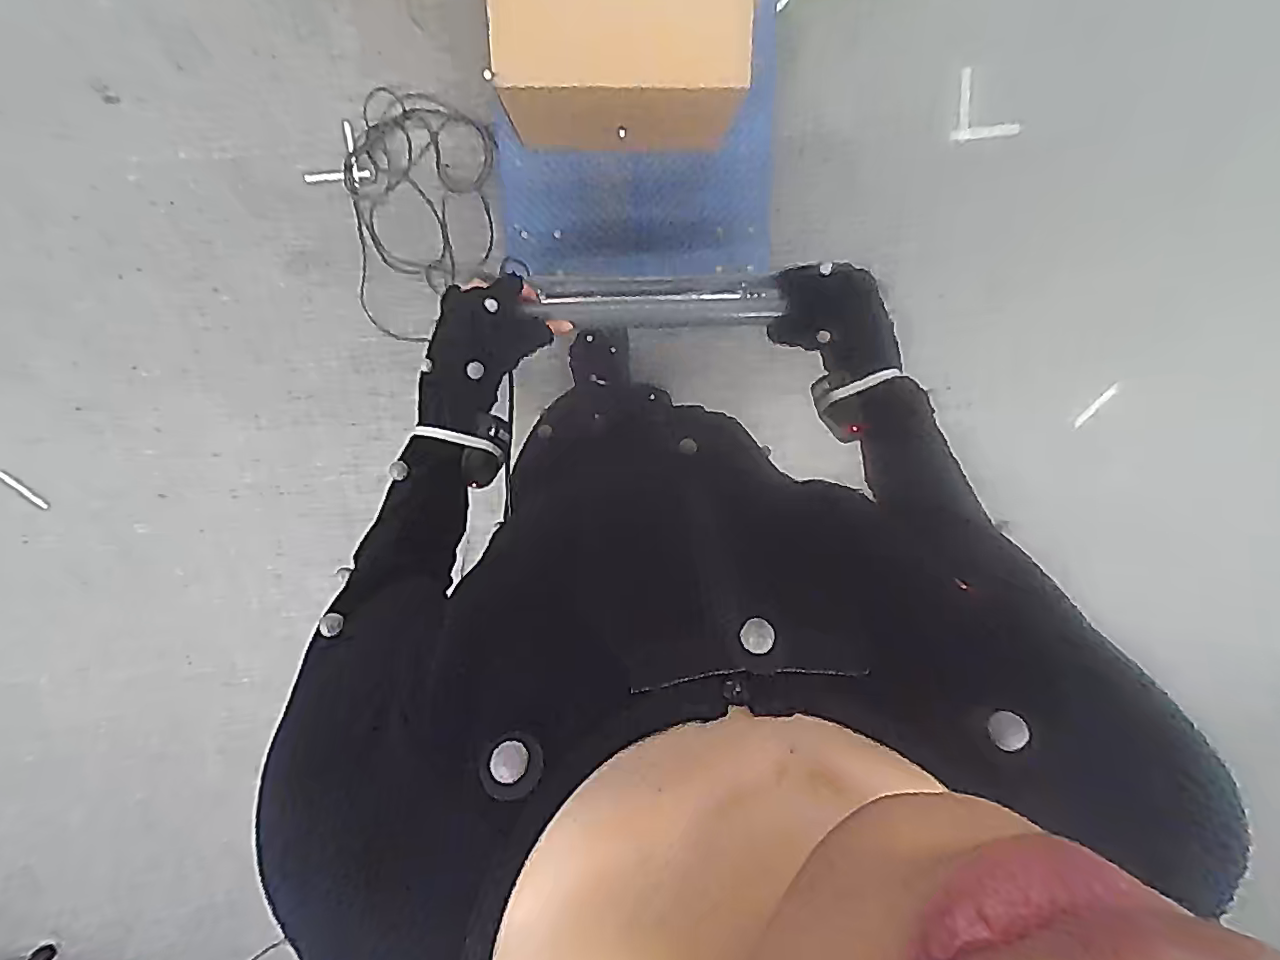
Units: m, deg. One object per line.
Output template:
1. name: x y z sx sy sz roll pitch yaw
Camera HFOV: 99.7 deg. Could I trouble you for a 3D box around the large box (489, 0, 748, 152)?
1. large box: -0.036 -0.798 0.957 0.408 0.320 0.320 -1 105 -1
